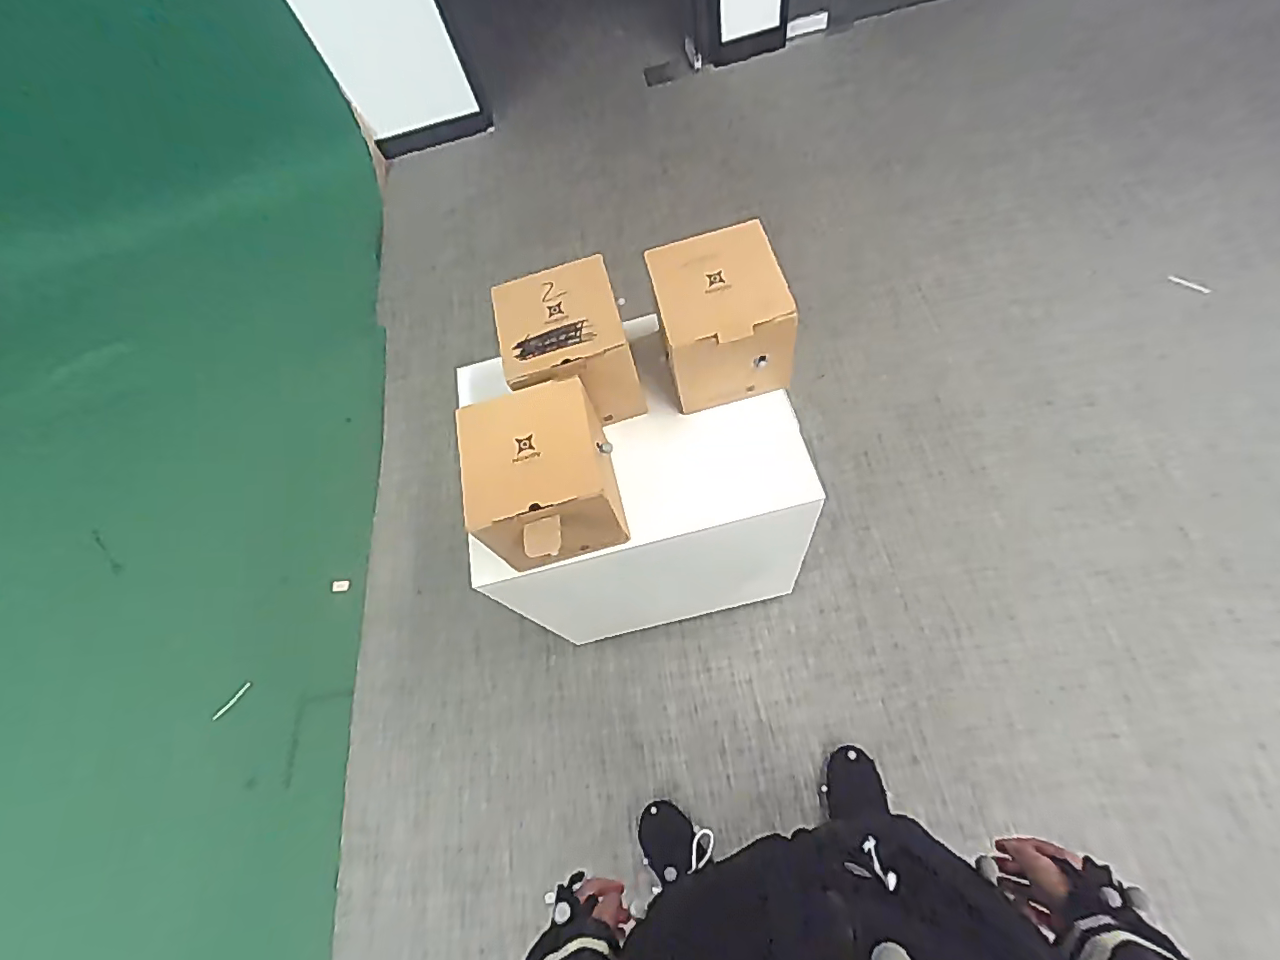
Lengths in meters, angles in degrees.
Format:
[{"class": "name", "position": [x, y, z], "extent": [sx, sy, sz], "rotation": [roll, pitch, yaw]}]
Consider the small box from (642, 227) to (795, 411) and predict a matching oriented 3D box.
[{"class": "small box", "position": [0.110, -0.217, 0.775], "extent": [0.168, 0.176, 0.179], "rotation": [-15, 63, 2]}]

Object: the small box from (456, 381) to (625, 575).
[{"class": "small box", "position": [-0.125, 0.005, 0.713], "extent": [0.168, 0.176, 0.179], "rotation": [-16, 62, 2]}]
